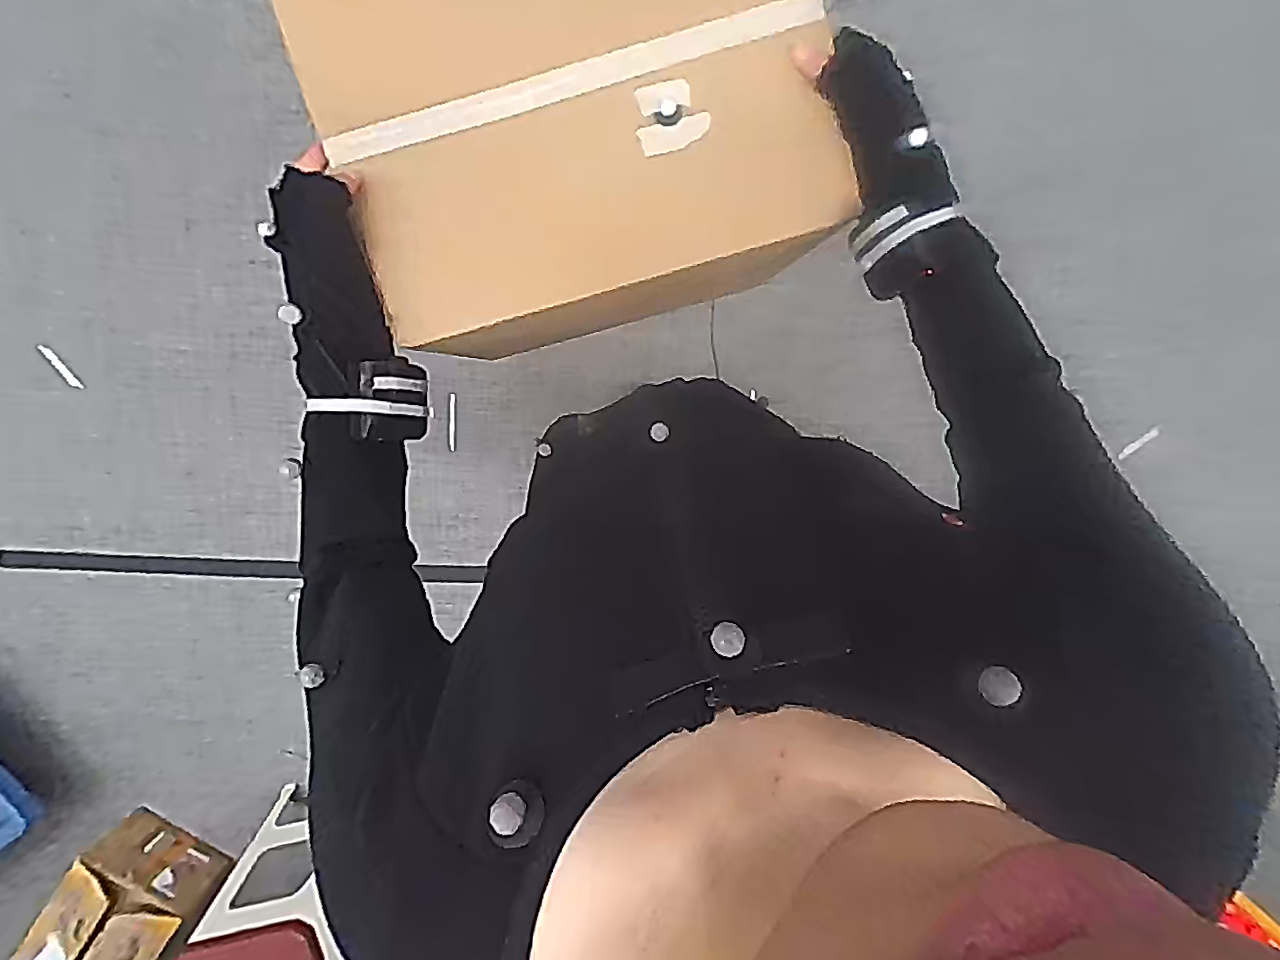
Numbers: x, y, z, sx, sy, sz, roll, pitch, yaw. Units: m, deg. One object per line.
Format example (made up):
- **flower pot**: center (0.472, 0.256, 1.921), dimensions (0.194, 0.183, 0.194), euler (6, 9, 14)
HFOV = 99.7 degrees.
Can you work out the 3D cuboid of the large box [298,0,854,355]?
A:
- **large box**: center (-0.053, -0.346, 0.583), dimensions (0.408, 0.320, 0.320), euler (-15, 100, 1)
